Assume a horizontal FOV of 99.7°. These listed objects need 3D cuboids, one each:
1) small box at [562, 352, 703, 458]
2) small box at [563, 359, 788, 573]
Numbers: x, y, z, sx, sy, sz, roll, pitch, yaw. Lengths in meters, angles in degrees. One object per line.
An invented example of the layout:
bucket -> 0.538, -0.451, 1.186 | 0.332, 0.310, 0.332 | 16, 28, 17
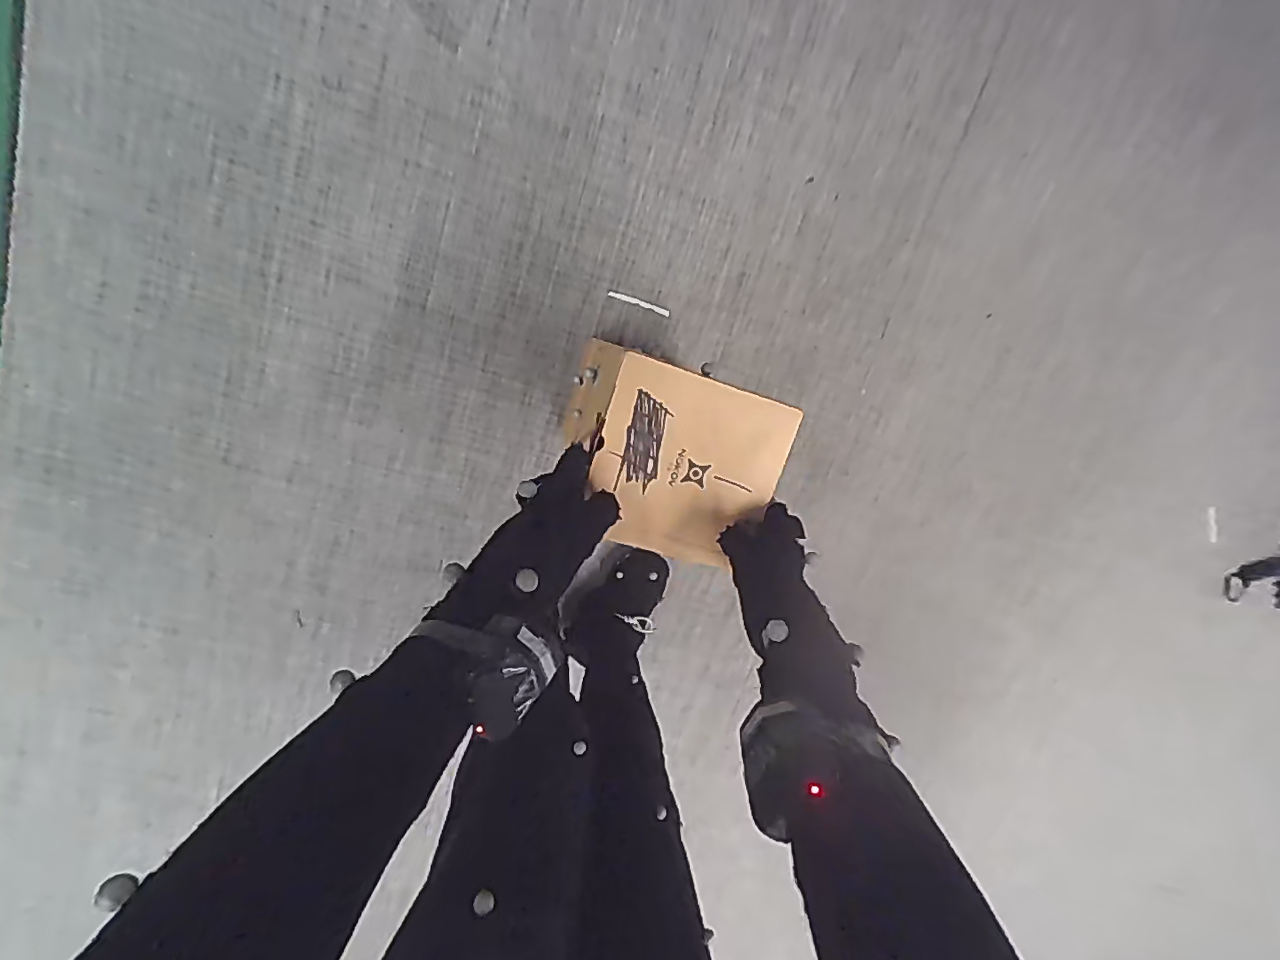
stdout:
small box -> -0.022, -0.108, 0.886 | 0.179, 0.176, 0.168 | 15, 101, -13
small box -> 0.021, -0.023, 0.582 | 0.179, 0.176, 0.168 | 16, 101, -14
